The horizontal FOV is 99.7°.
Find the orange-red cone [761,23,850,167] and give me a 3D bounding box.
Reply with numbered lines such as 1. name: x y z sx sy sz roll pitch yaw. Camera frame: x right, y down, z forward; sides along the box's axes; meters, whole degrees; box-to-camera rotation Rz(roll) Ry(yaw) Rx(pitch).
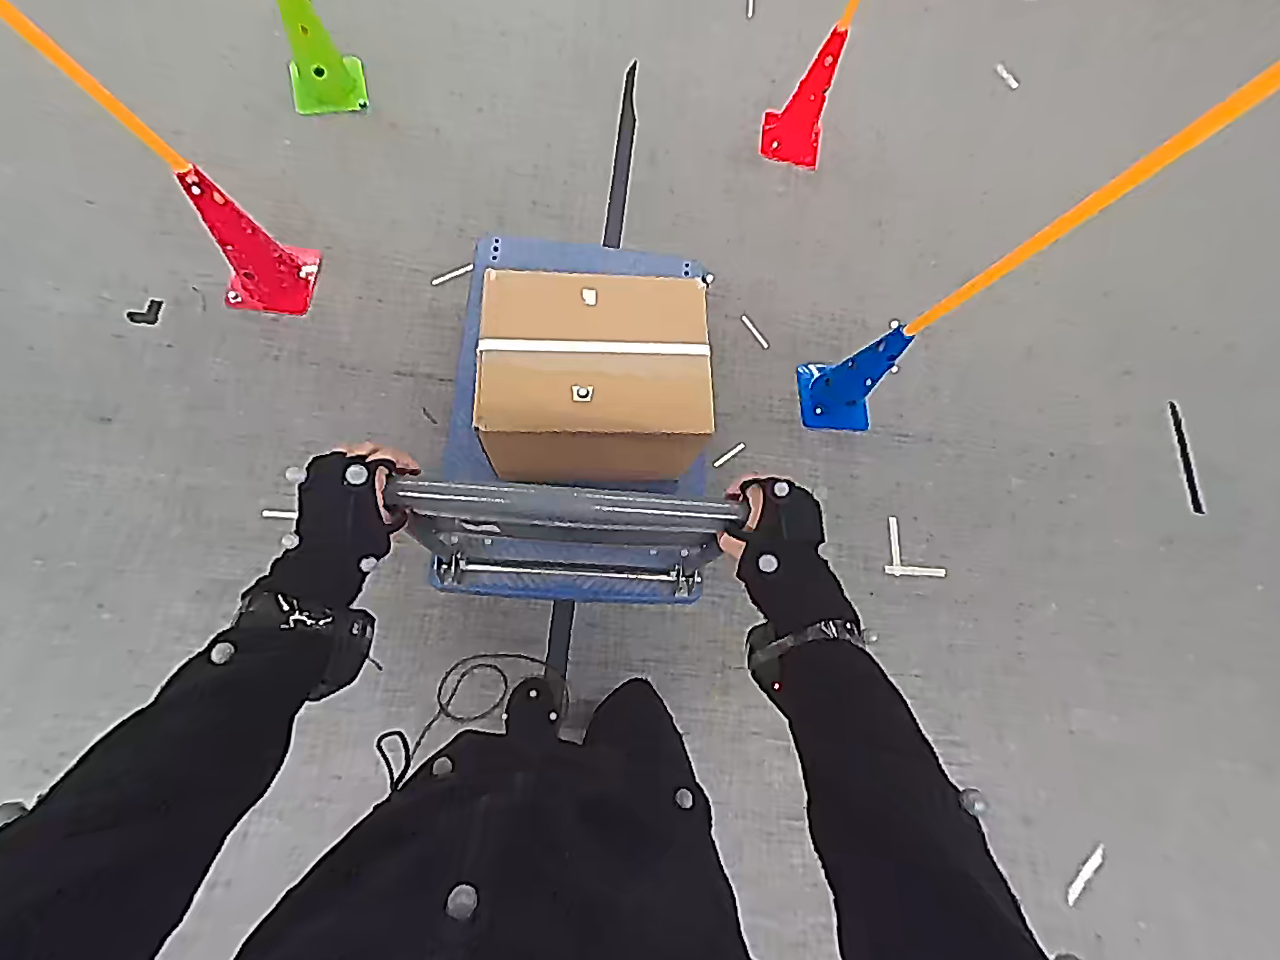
1. orange-red cone: 0.528 -1.175 1.626 0.199 0.360 0.198 13 74 -5

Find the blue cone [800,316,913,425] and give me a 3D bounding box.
1. blue cone: 0.581 -0.294 1.401 0.193 0.380 0.192 3 73 -8
